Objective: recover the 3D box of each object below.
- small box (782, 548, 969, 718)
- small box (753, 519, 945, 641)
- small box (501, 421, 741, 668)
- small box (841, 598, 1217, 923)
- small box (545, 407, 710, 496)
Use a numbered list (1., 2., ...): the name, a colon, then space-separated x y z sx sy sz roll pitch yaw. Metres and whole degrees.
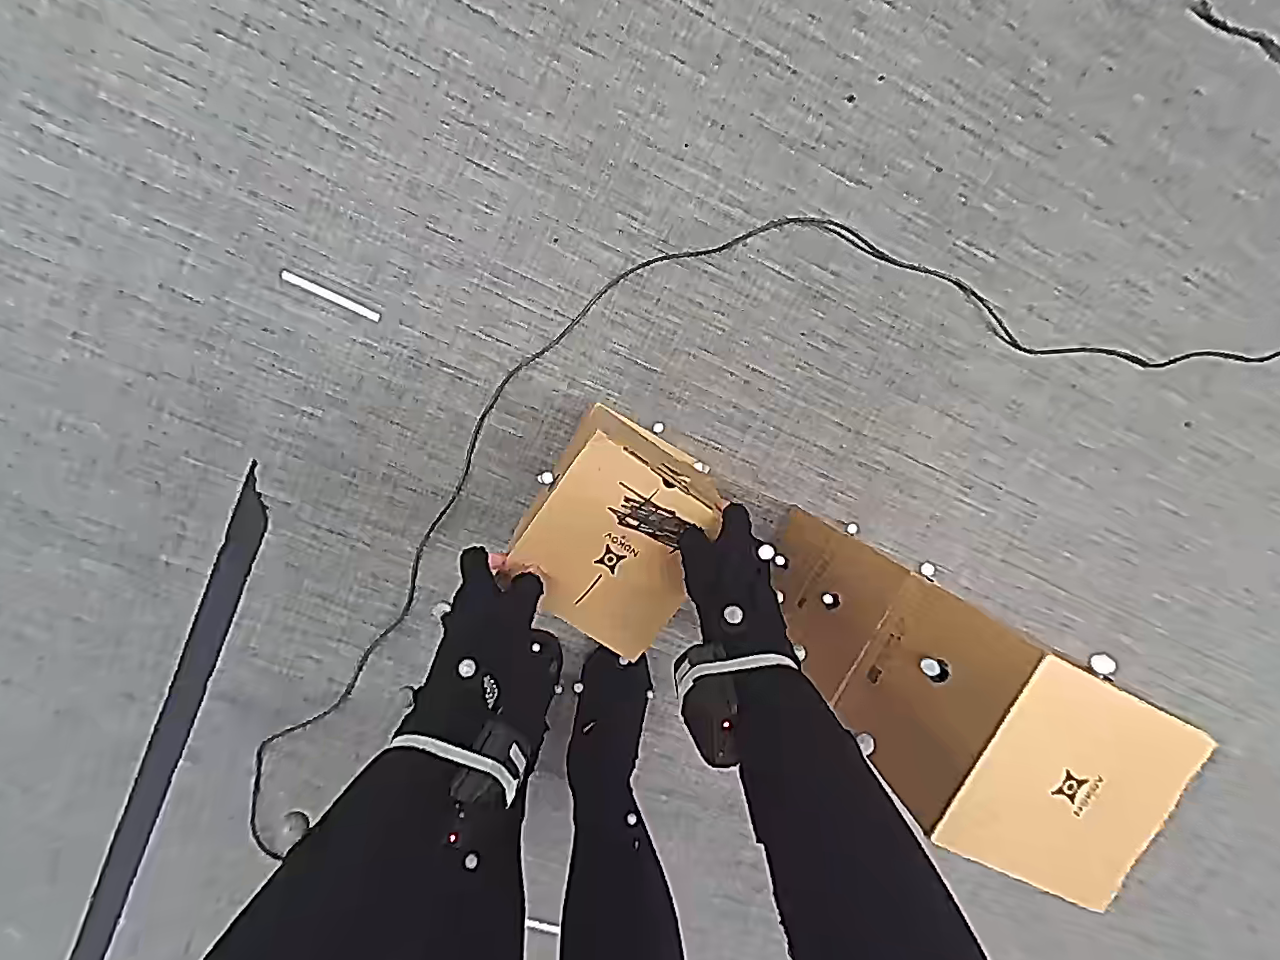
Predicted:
1. small box: 0.298 0.197 0.640 0.179 0.176 0.168 29 96 -10
2. small box: 0.293 0.172 0.804 0.179 0.176 0.168 27 97 -9
3. small box: -0.023 0.055 0.583 0.168 0.176 0.179 34 101 -10
4. small box: 0.316 0.226 0.480 0.179 0.176 0.168 27 96 -10
5. small box: -0.029 0.015 0.748 0.168 0.176 0.179 30 95 -10
